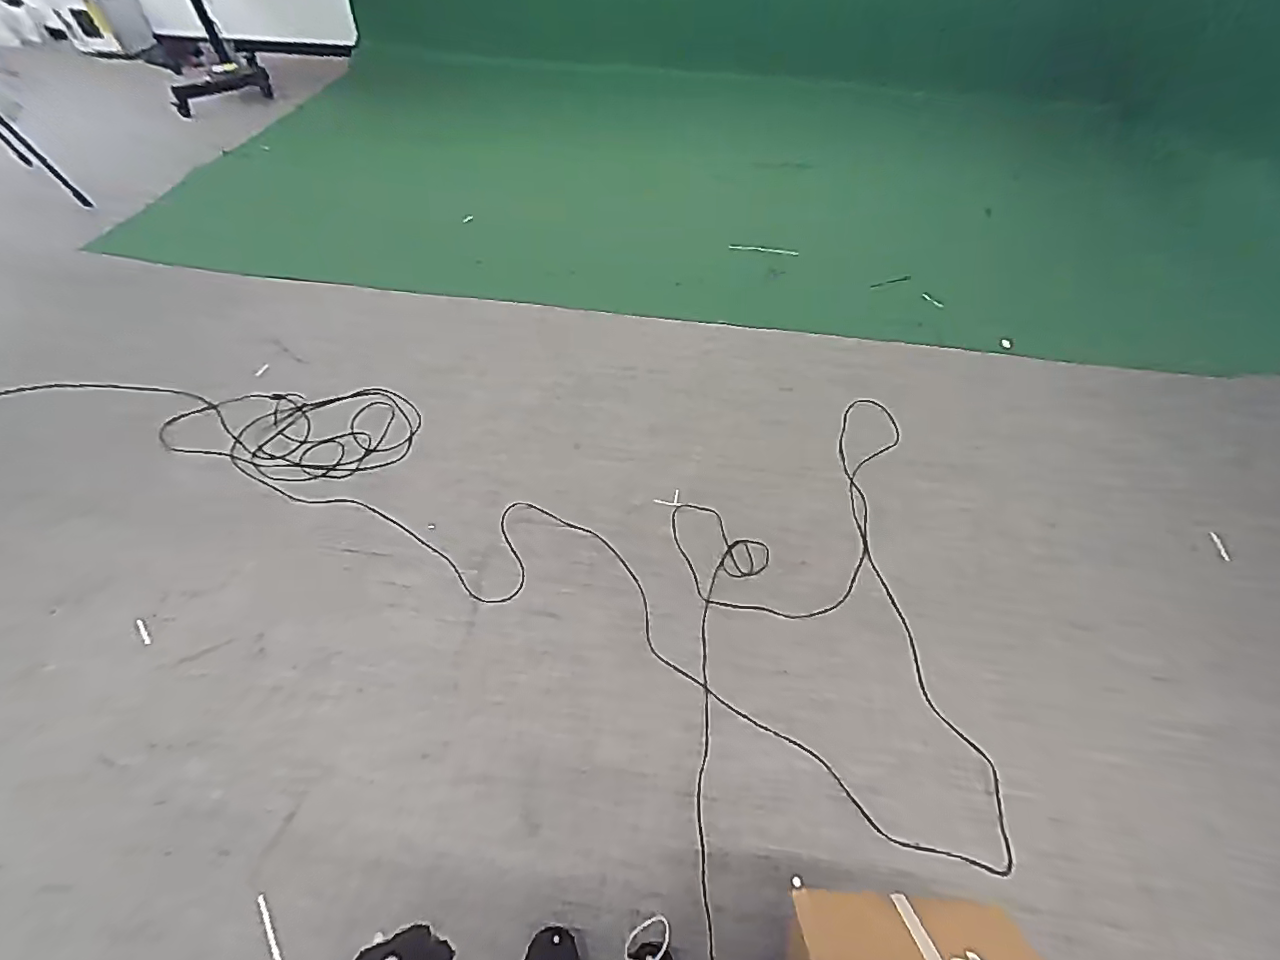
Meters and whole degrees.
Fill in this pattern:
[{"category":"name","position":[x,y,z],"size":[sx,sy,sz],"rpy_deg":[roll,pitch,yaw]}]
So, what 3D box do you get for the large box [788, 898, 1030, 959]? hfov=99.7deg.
[{"category":"large box","position":[0.370,0.795,0.624],"size":[0.320,0.408,0.320],"rpy_deg":[2,89,3]}]
